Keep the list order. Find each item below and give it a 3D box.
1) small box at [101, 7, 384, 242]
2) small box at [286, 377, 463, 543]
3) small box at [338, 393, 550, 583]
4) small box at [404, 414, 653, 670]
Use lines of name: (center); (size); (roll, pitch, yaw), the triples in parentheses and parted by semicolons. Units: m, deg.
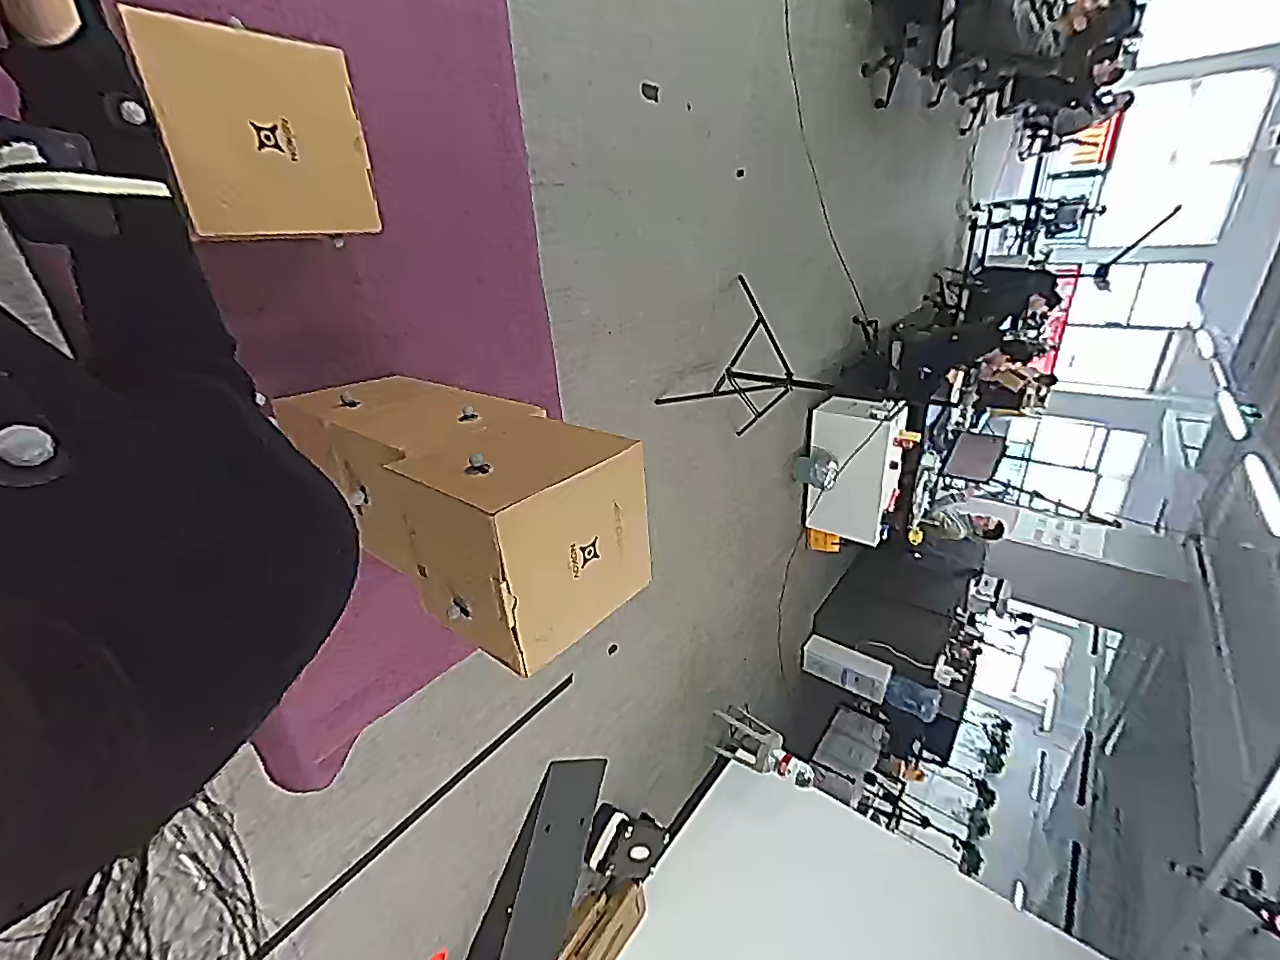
small box: (-0.404, -0.340, 0.556); (0.179, 0.176, 0.168); (-30, 126, -45)
small box: (-0.352, -0.039, 0.739); (0.179, 0.176, 0.168); (-28, 124, -46)
small box: (-0.221, -0.001, 0.646); (0.179, 0.176, 0.168); (-27, 124, -45)
small box: (-0.108, 0.045, 0.537); (0.179, 0.176, 0.168); (-32, 127, -44)
